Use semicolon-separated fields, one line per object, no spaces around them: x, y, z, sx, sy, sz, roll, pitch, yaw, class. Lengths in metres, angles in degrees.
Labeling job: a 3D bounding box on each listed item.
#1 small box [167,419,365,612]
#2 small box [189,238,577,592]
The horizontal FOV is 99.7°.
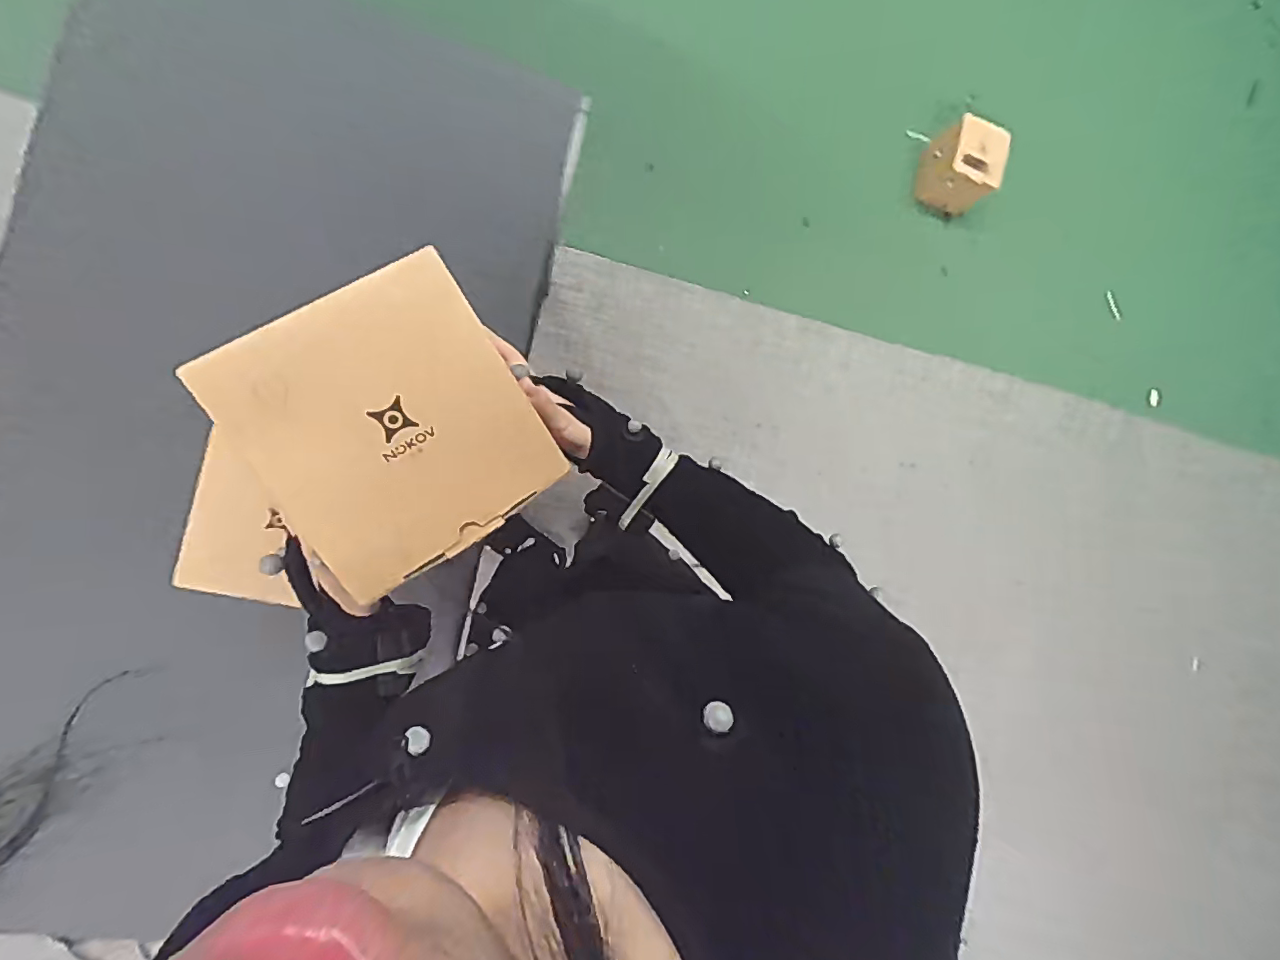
-0.373;0.036;0.620;0.179;0.176;0.168;14;89;-12;small box
-0.177;-0.045;0.417;0.168;0.176;0.179;-34;104;-15;small box
